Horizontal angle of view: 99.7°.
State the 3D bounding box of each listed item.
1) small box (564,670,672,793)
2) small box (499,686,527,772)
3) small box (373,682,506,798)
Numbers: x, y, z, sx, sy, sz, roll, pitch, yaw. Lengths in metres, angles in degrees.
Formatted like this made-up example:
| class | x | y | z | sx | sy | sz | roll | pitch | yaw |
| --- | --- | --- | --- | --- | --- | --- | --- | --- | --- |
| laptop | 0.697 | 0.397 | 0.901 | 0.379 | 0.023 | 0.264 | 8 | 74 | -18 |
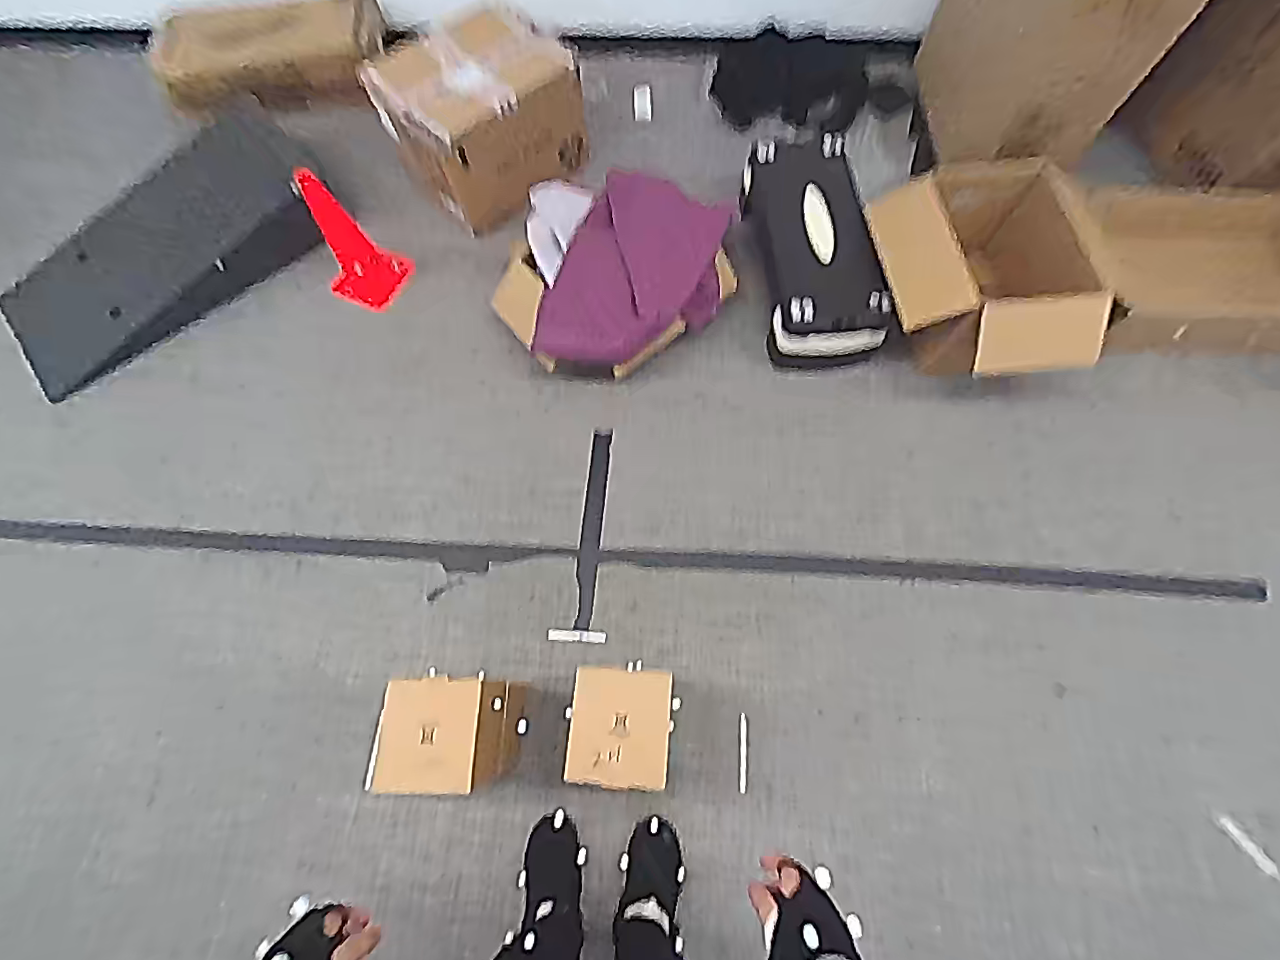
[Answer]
| class | x | y | z | sx | sy | sz | roll | pitch | yaw |
| --- | --- | --- | --- | --- | --- | --- | --- | --- | --- |
| small box | -0.034 | 0.443 | 0.971 | 0.168 | 0.176 | 0.179 | 4 | 69 | 3 |
| small box | -0.347 | 0.517 | 1.126 | 0.179 | 0.176 | 0.168 | 1 | 69 | 1 |
| small box | -0.347 | 0.459 | 0.974 | 0.168 | 0.176 | 0.179 | -2 | 69 | 2 |
